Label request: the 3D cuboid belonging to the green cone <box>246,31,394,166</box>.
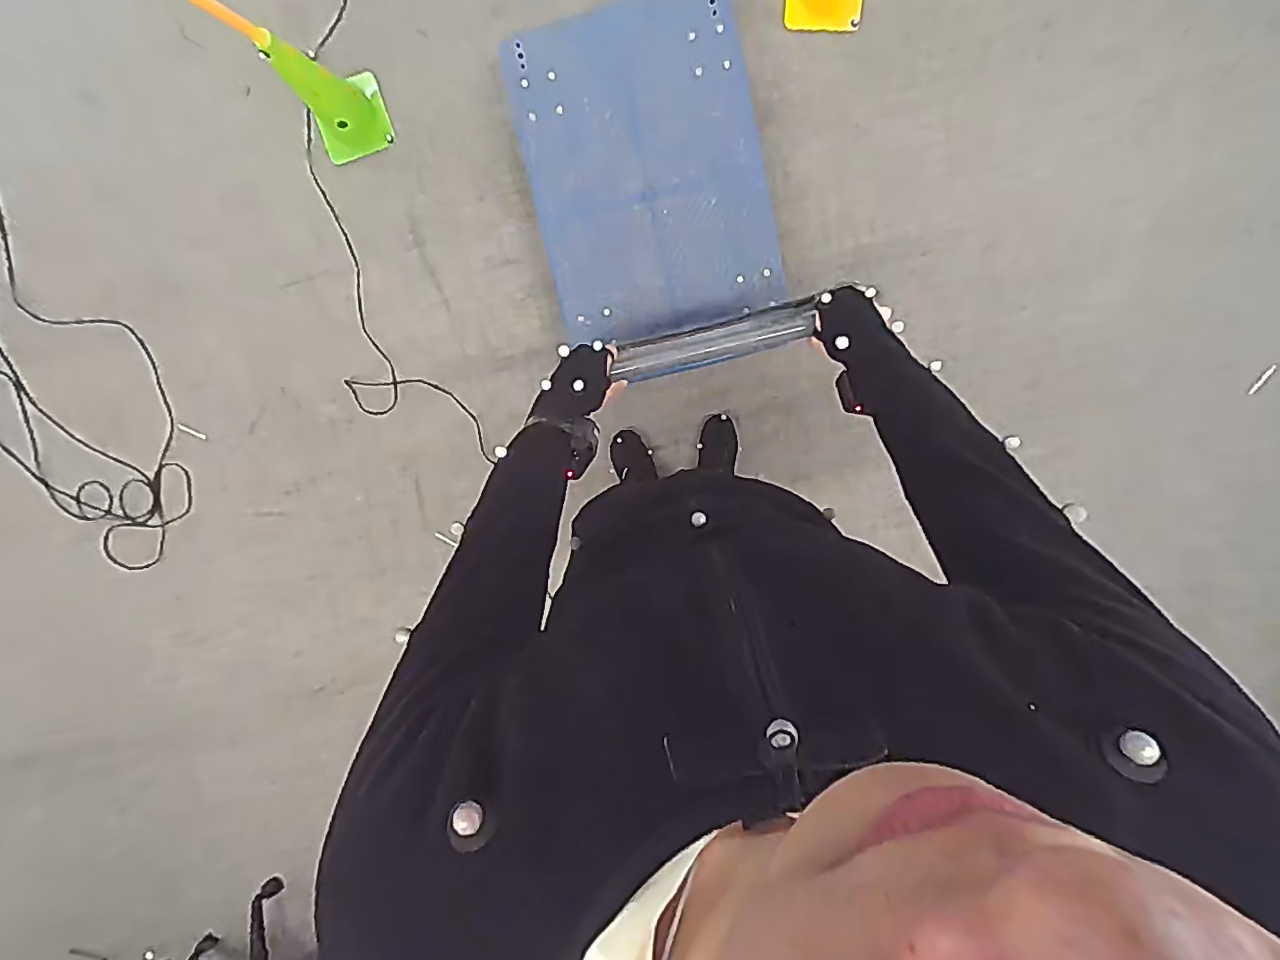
[{"bbox_3d":[-0.819,-0.984,1.346,0.202,0.368,0.200,-17,97,6],"label":"green cone"}]
